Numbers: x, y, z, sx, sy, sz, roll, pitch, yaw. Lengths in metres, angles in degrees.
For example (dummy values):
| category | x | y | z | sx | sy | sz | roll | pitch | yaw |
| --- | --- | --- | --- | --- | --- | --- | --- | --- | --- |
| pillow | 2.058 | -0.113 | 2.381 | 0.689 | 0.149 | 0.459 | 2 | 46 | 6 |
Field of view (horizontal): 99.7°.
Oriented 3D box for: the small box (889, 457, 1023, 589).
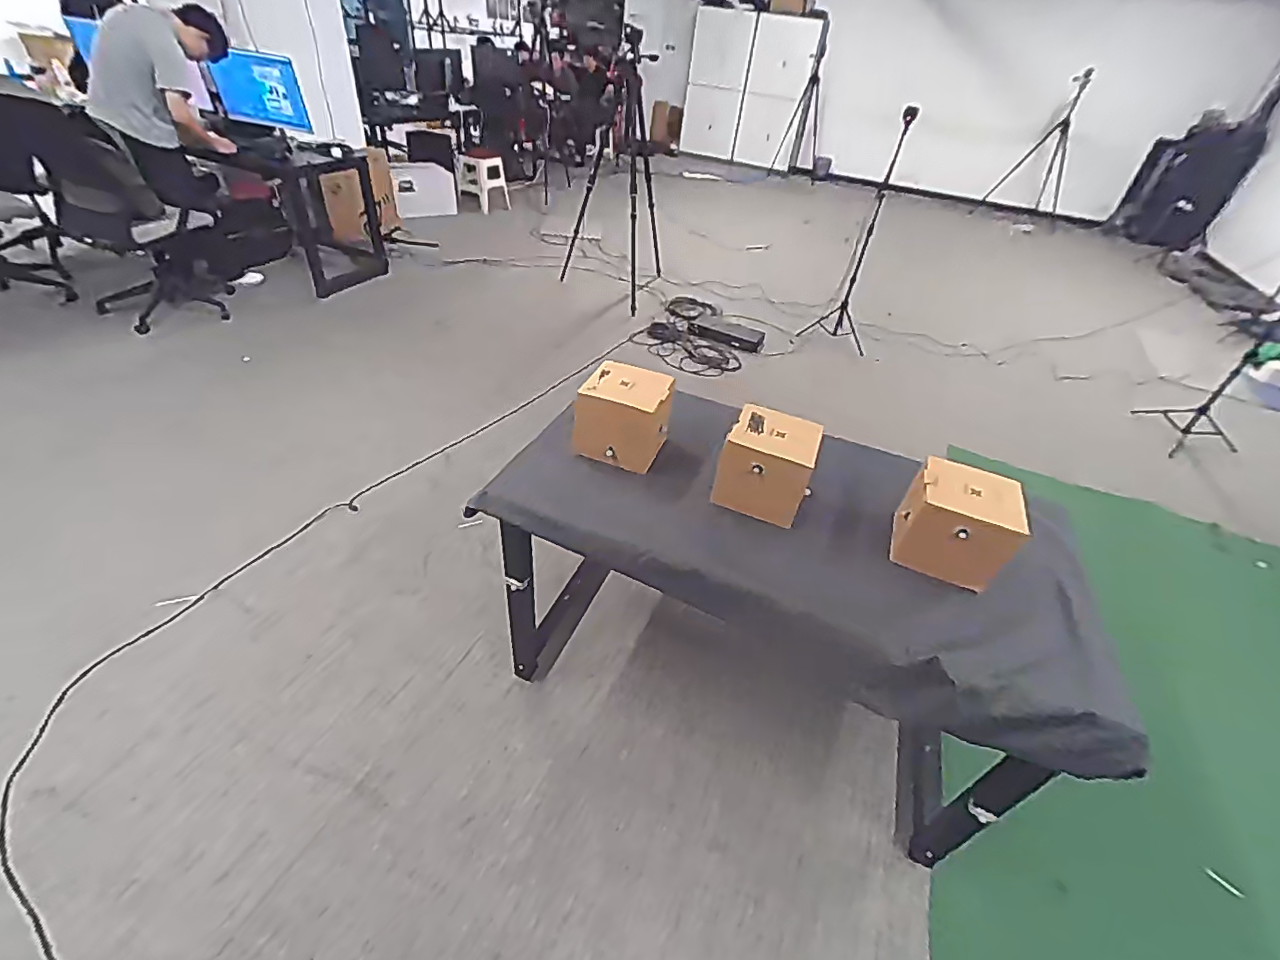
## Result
| category | x | y | z | sx | sy | sz | roll | pitch | yaw |
| --- | --- | --- | --- | --- | --- | --- | --- | --- | --- |
| small box | 0.615 | 0.086 | 1.072 | 0.179 | 0.176 | 0.168 | 21 | 42 | 14 |

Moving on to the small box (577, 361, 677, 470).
| category | x | y | z | sx | sy | sz | roll | pitch | yaw |
| --- | --- | --- | --- | --- | --- | --- | --- | --- | --- |
| small box | -0.033 | -0.145 | 1.244 | 0.179 | 0.176 | 0.168 | 18 | 40 | 11 |

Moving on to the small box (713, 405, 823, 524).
| category | x | y | z | sx | sy | sz | roll | pitch | yaw |
| --- | --- | --- | --- | --- | --- | --- | --- | --- | --- |
| small box | 0.270 | -0.032 | 1.156 | 0.179 | 0.176 | 0.168 | 19 | 41 | 13 |
